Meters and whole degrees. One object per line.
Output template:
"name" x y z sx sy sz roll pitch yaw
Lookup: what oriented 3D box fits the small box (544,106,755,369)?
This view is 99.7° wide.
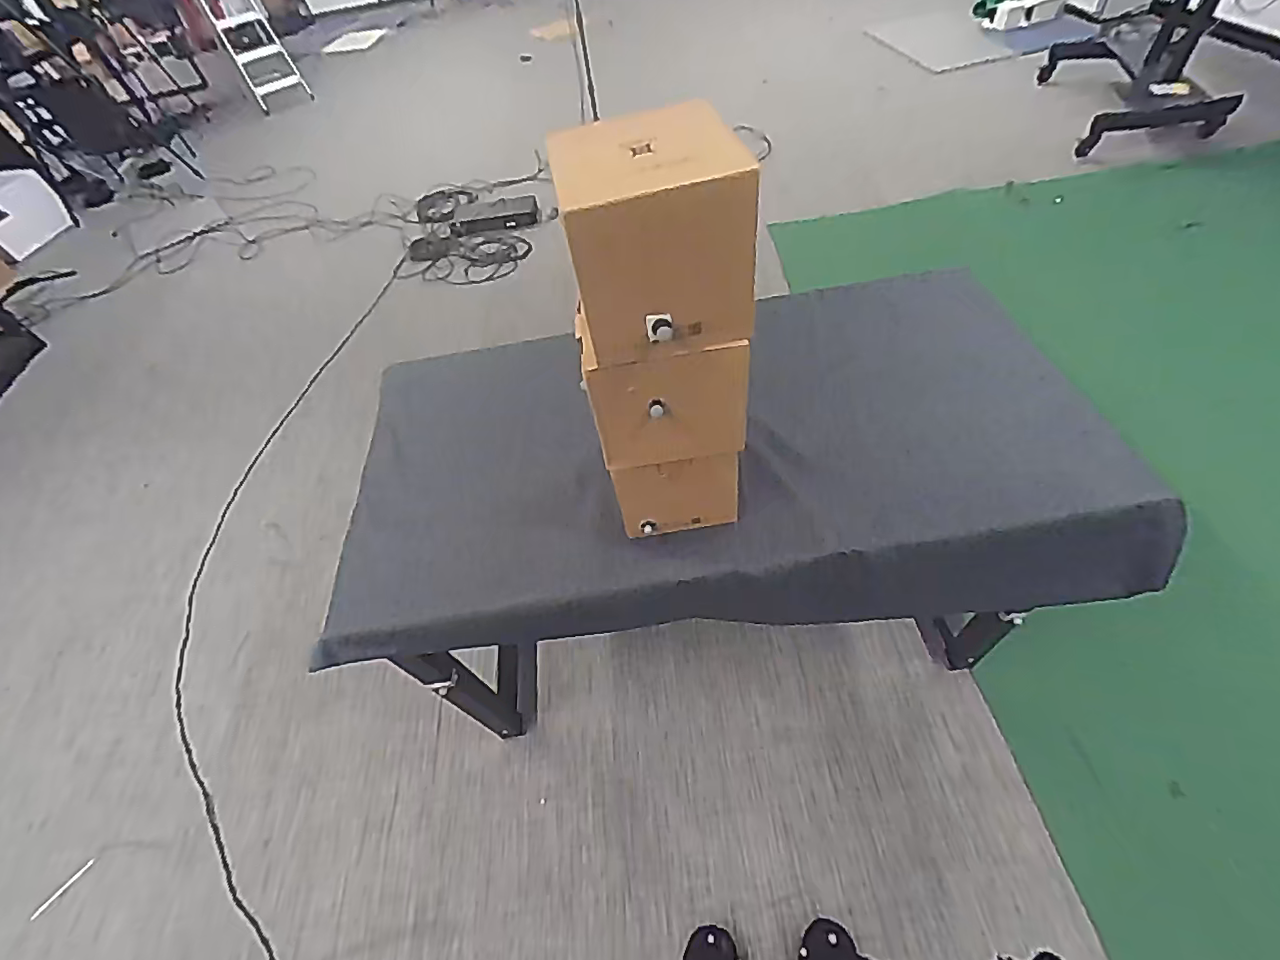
"small box" 0.008 -0.243 0.551 0.168 0.176 0.179 -14 52 -1

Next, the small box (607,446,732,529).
"small box" 0.042 -0.042 0.806 0.168 0.176 0.179 -9 50 2

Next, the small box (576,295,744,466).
"small box" 0.025 -0.137 0.677 0.179 0.176 0.168 -10 49 -1
